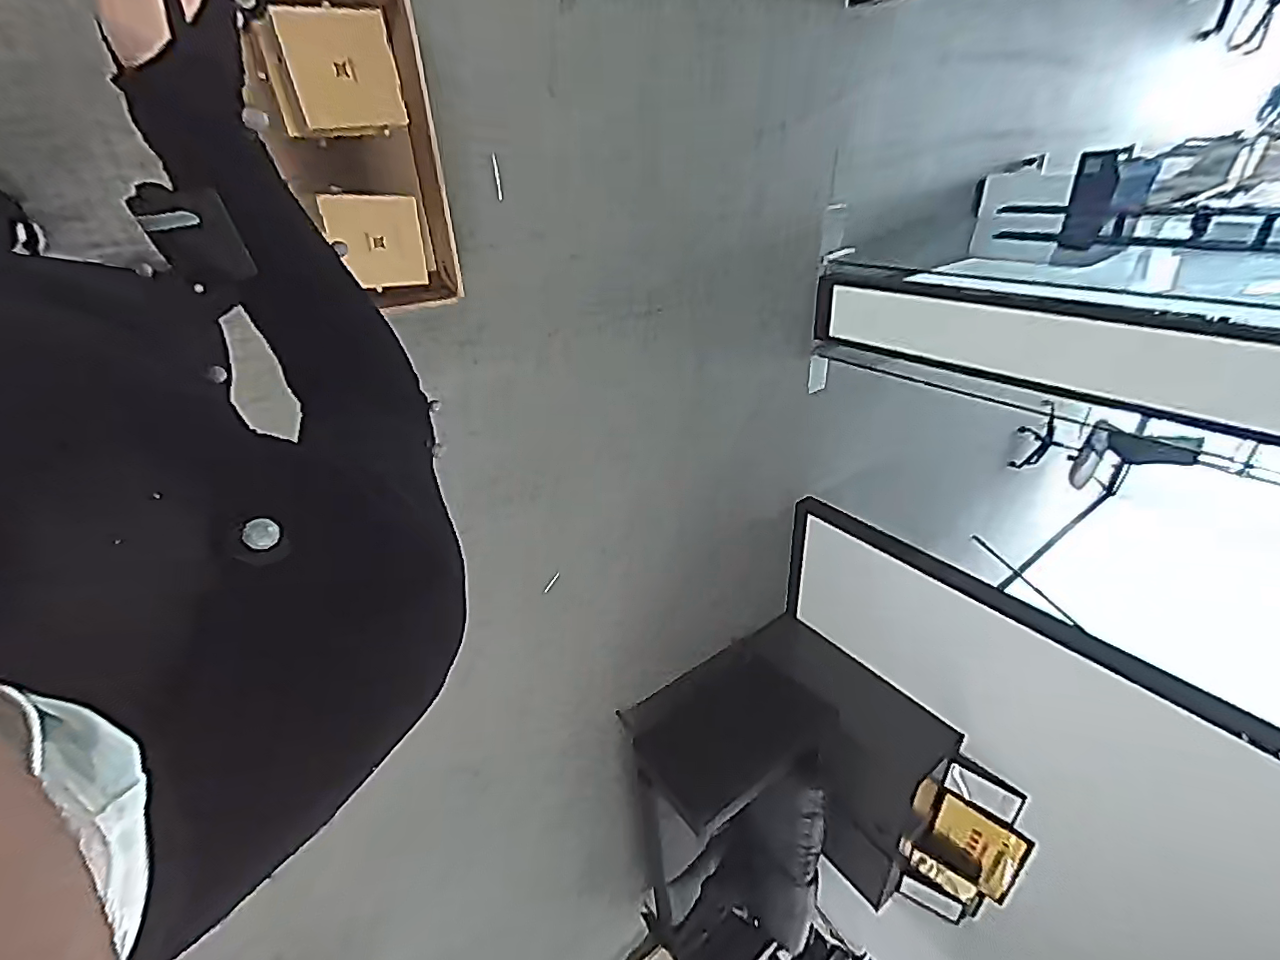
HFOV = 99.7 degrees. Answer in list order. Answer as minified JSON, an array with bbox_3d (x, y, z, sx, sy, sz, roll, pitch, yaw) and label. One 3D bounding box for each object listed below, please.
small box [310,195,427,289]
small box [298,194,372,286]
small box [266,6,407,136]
[{"bbox_3d":[-0.560,-0.490,1.110,0.179,0.176,0.168,-17,123,-31],"label":"small box"},{"bbox_3d":[-0.657,-0.548,1.228,0.168,0.176,0.179,-17,122,-31],"label":"small box"},{"bbox_3d":[-0.555,-0.735,0.987,0.179,0.176,0.168,-24,126,-28],"label":"small box"}]
